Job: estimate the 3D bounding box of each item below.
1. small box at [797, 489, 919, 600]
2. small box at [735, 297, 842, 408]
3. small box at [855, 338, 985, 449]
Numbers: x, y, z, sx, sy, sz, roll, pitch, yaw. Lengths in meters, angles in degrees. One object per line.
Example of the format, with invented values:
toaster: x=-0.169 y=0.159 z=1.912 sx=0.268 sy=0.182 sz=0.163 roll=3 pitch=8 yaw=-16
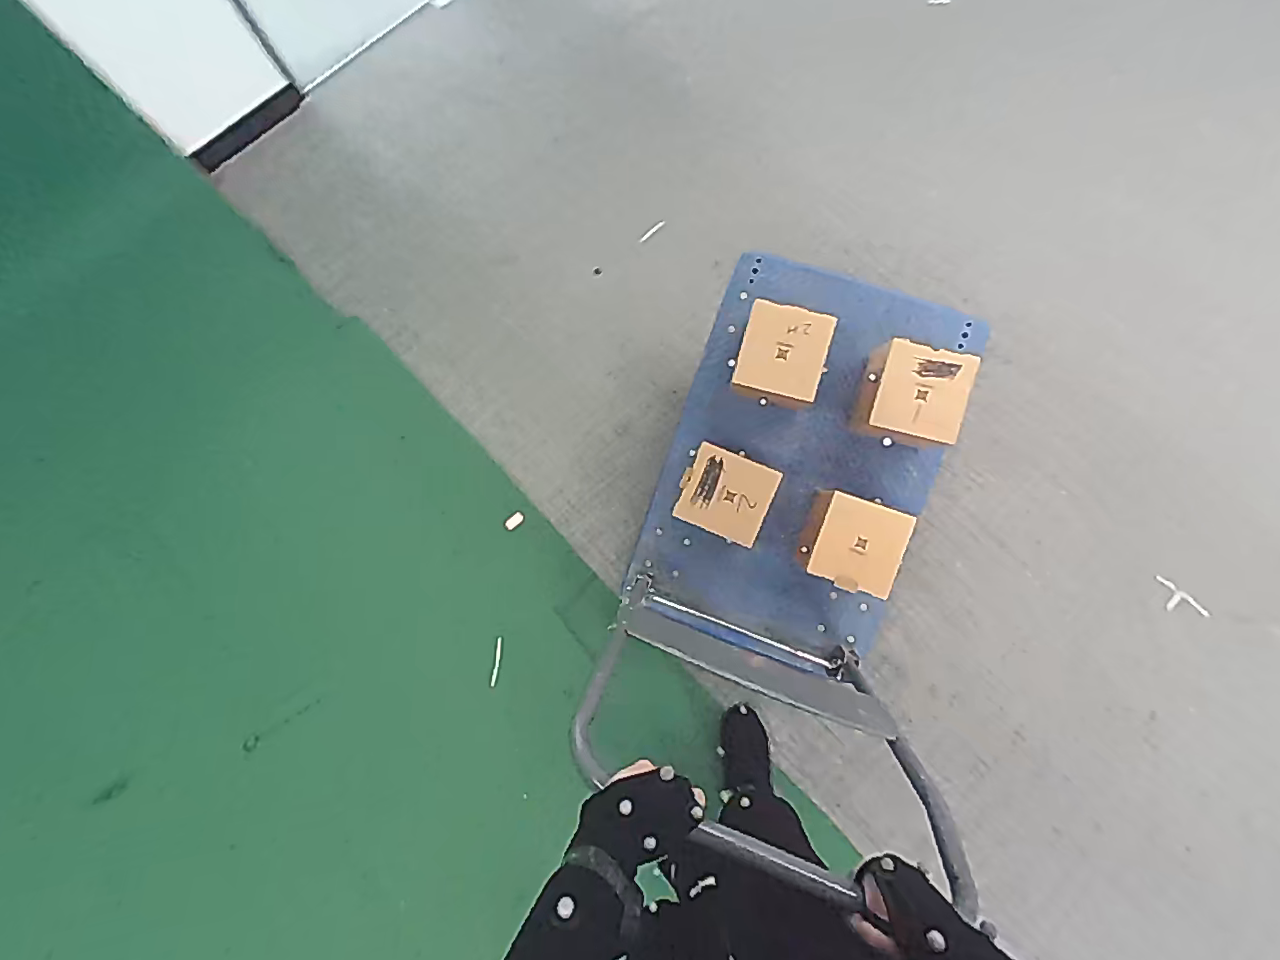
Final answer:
small box: x=0.445 y=0.125 z=1.136 sx=0.168 sy=0.176 sz=0.179 roll=20 pitch=94 yaw=6
small box: x=0.304 y=-0.260 z=1.145 sx=0.168 sy=0.176 sz=0.179 roll=17 pitch=93 yaw=6
small box: x=0.563 y=-0.170 z=1.115 sx=0.168 sy=0.176 sz=0.179 roll=17 pitch=94 yaw=7
